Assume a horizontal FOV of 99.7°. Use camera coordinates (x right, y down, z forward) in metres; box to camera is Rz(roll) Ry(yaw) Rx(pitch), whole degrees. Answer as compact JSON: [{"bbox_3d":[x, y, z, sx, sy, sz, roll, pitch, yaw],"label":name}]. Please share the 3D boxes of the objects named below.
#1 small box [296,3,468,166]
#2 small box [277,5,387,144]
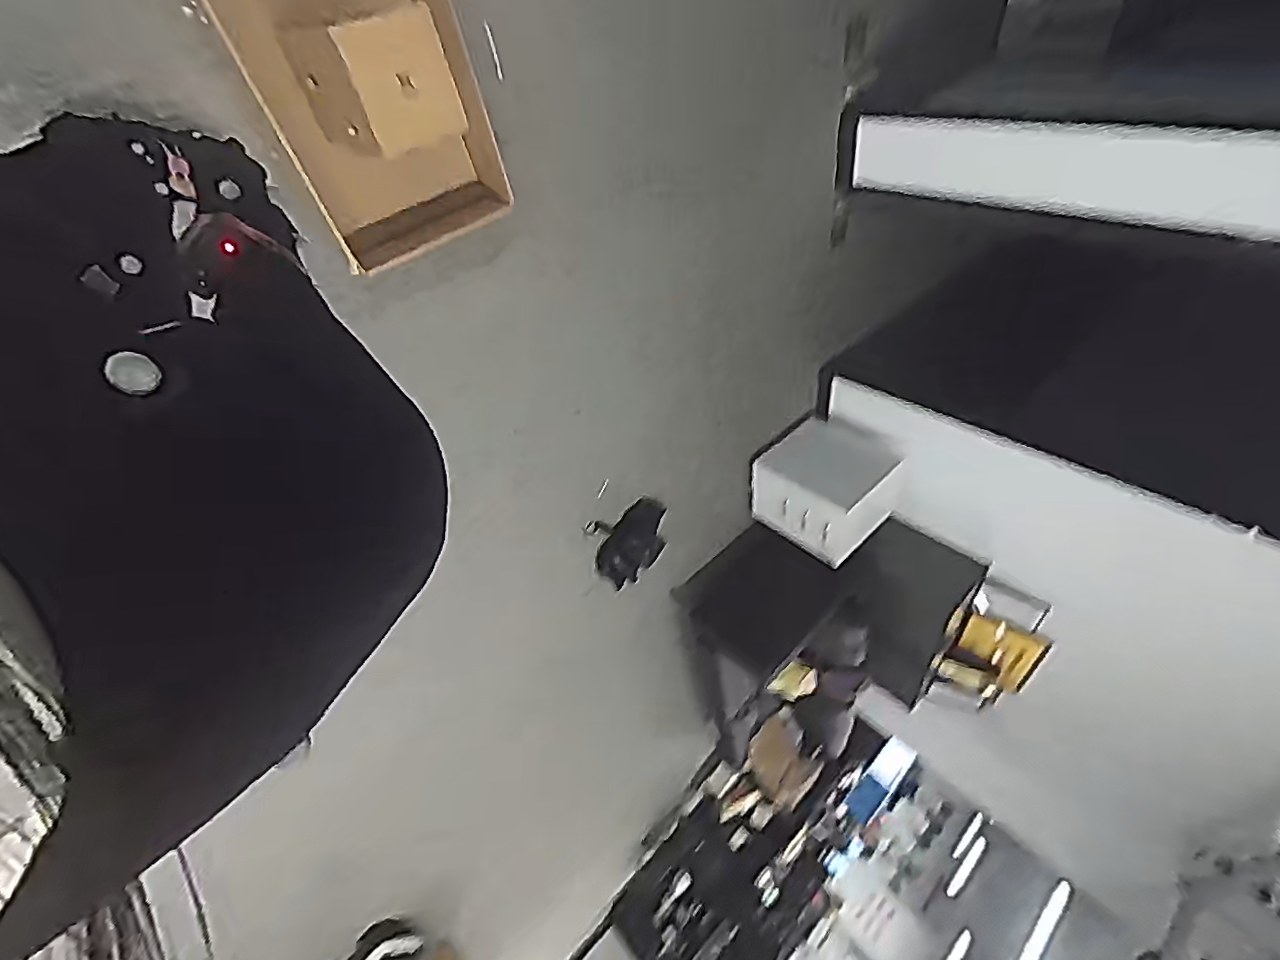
[{"bbox_3d":[-0.427,-0.659,0.903,0.168,0.176,0.179,-41,141,-20],"label":"small box"},{"bbox_3d":[-0.536,-0.752,1.016,0.168,0.176,0.179,-41,140,-22],"label":"small box"}]
